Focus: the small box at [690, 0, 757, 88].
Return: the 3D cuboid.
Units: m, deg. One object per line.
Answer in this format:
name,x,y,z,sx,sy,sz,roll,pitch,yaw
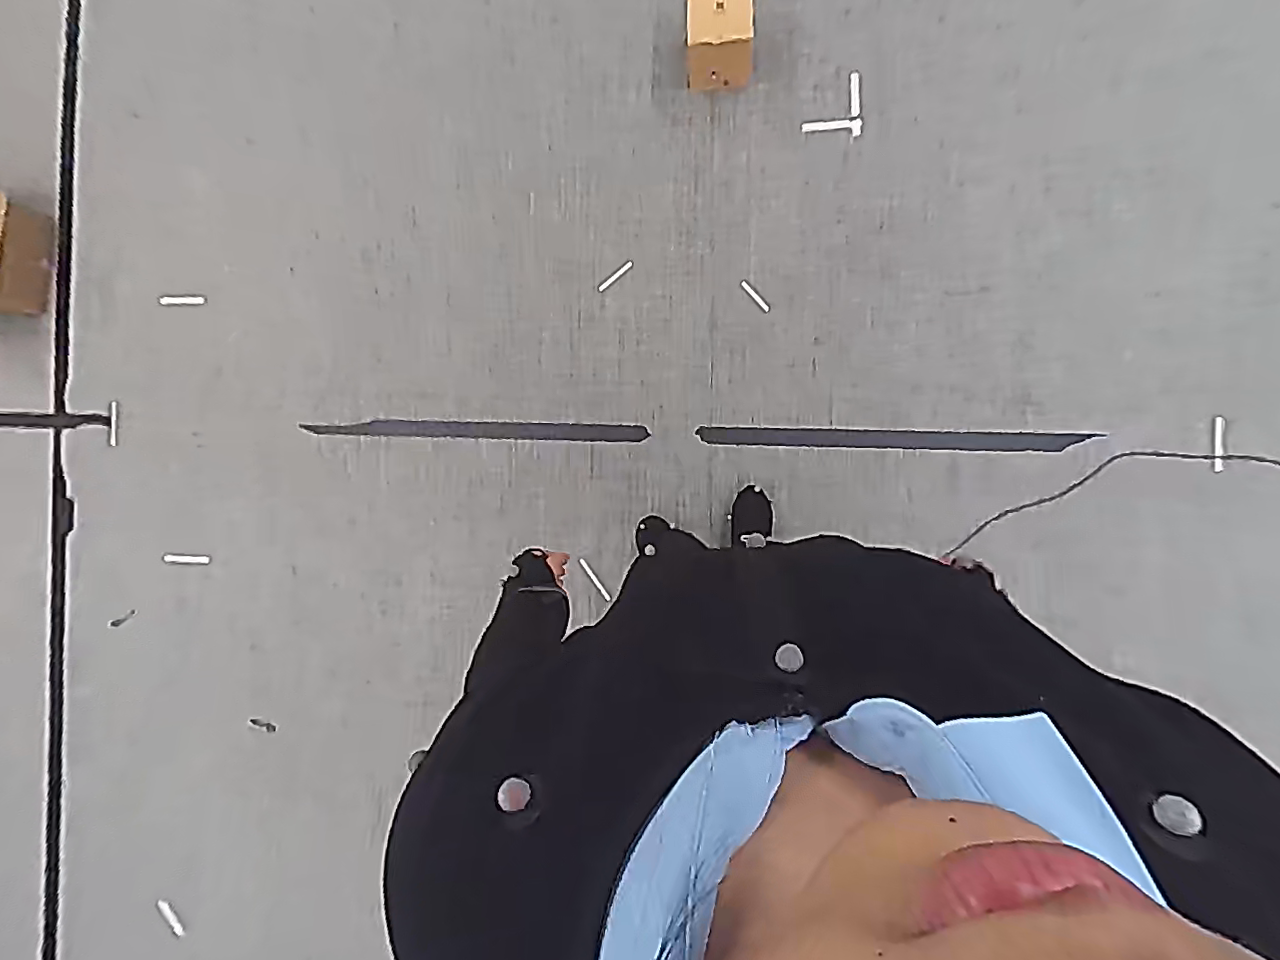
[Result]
small box,0.217,-1.191,1.435,0.168,0.176,0.179,-1,89,6
